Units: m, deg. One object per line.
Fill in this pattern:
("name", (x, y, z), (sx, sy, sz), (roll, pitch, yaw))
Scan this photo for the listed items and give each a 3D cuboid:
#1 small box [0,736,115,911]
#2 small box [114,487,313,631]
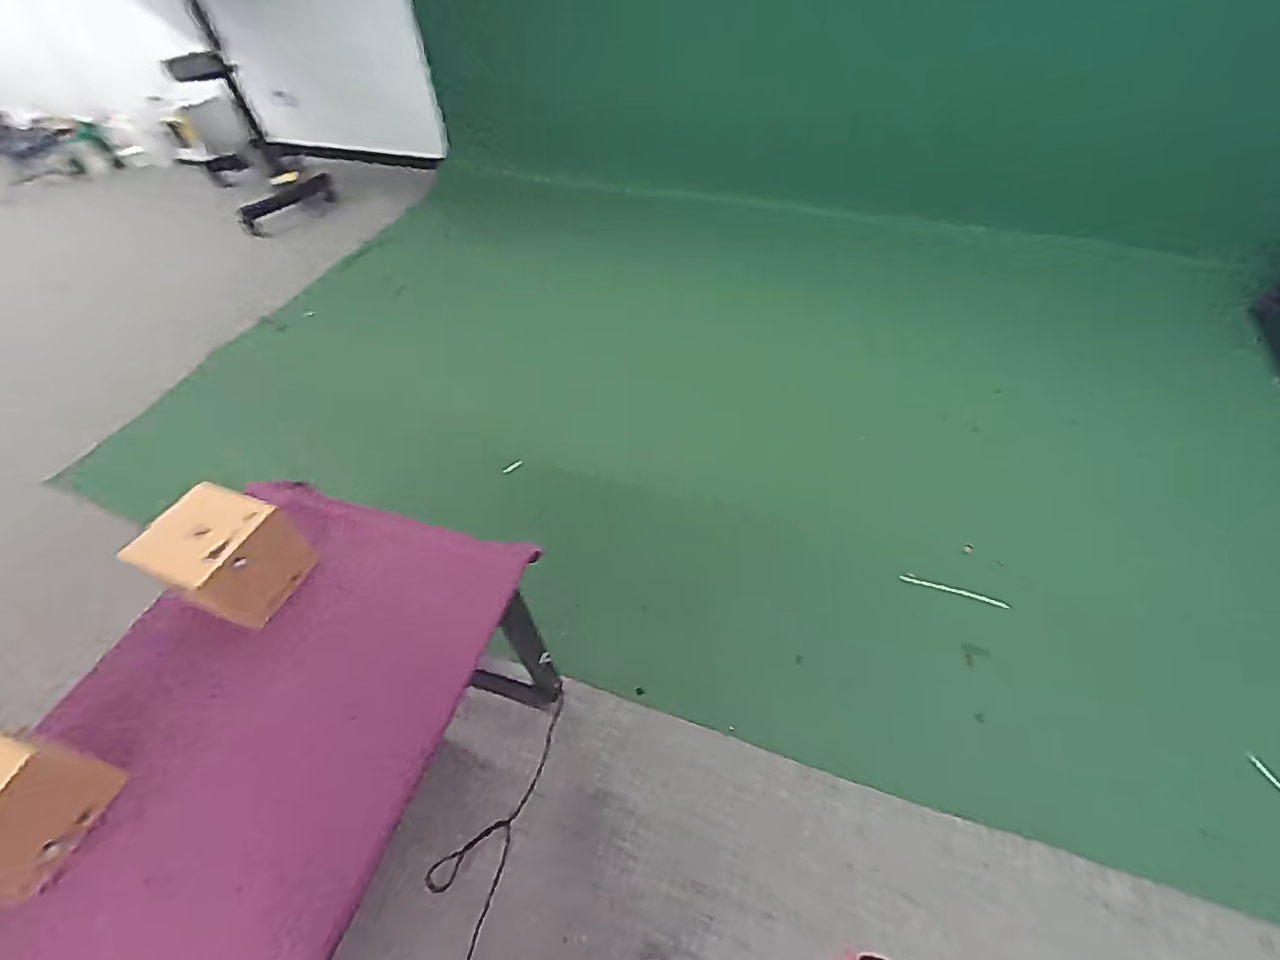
("small box", (-0.879, 0.442, 0.710), (0.179, 0.176, 0.168), (13, 53, 12))
("small box", (-0.731, 0.142, 0.949), (0.179, 0.176, 0.168), (15, 54, 15))
